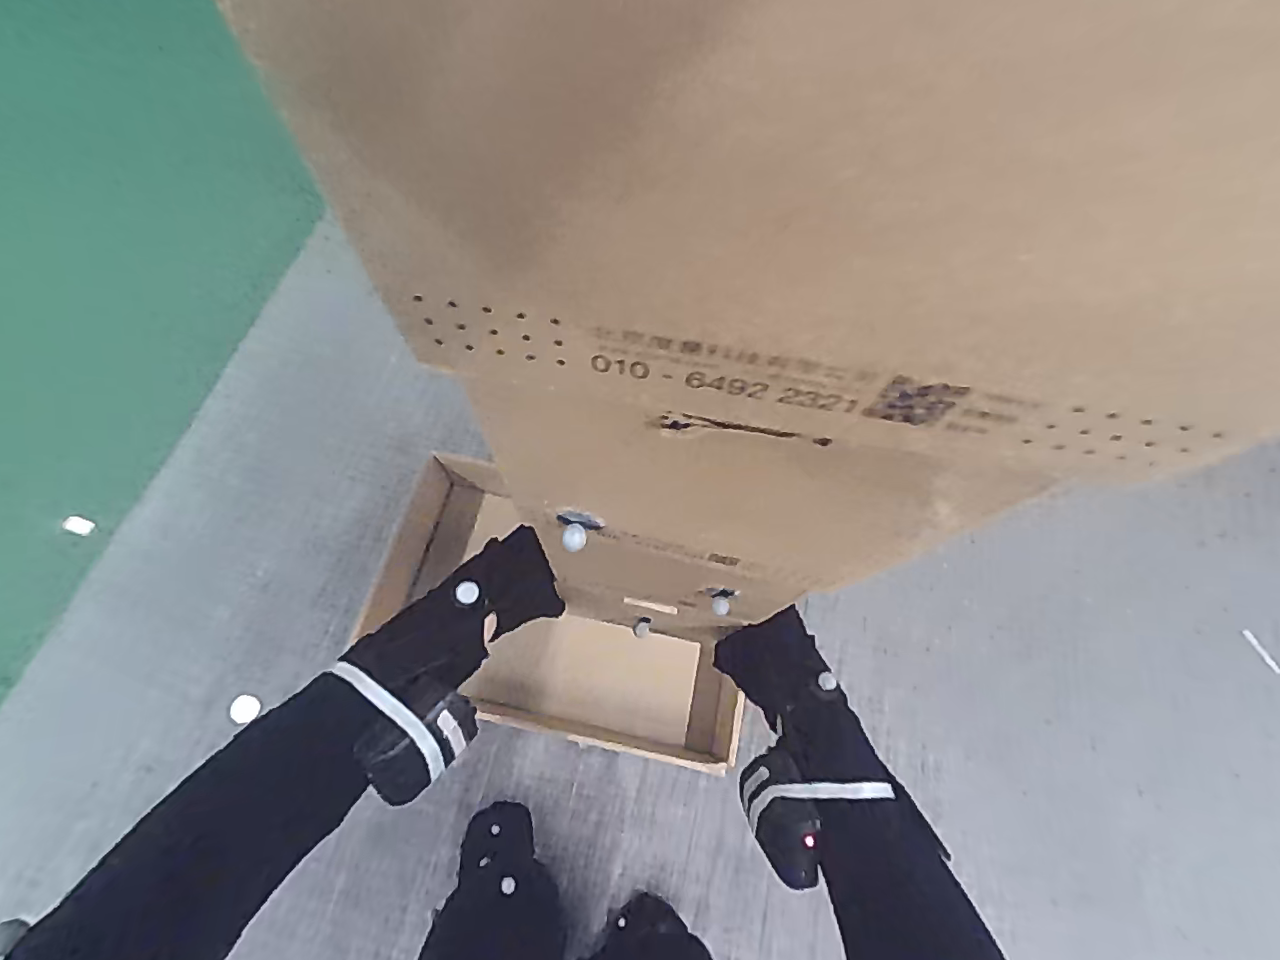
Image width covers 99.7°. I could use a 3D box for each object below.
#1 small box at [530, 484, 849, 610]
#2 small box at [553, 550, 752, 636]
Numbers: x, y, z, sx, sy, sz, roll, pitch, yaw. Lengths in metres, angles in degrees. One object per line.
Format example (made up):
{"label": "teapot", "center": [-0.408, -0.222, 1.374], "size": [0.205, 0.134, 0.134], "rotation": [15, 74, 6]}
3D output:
{"label": "small box", "center": [0.038, -0.021, 0.364], "size": [0.168, 0.176, 0.179], "rotation": [11, 67, 1]}
{"label": "small box", "center": [0.021, 0.048, 0.532], "size": [0.168, 0.176, 0.179], "rotation": [8, 66, 1]}
